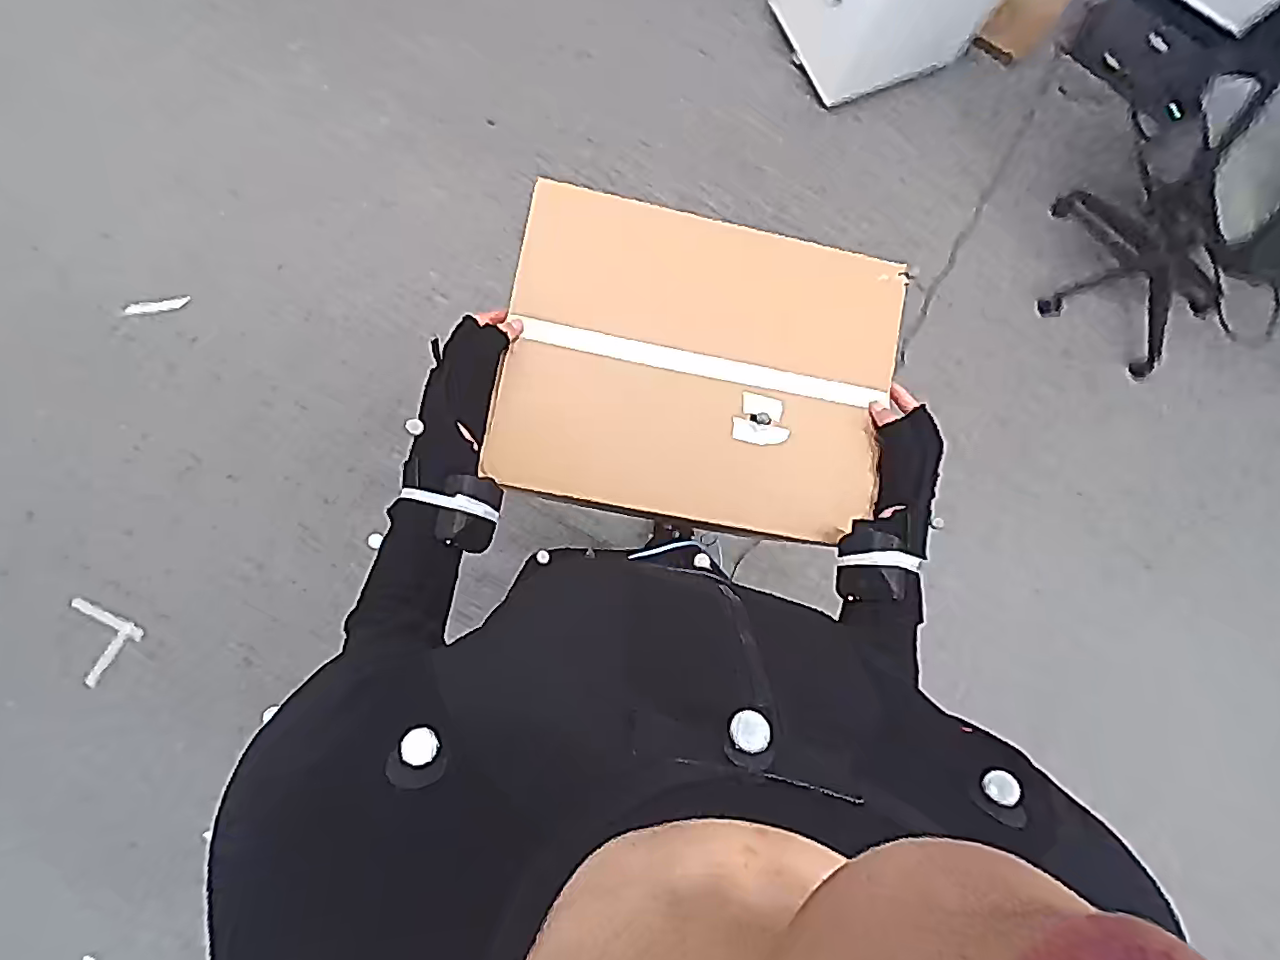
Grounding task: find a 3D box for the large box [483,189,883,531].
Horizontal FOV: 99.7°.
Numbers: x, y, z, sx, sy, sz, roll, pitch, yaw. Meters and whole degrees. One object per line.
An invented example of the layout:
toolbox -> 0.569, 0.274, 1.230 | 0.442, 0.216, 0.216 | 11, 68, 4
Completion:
large box -> 0.037, -0.114, 0.715 | 0.408, 0.320, 0.320 | 10, 86, -7
